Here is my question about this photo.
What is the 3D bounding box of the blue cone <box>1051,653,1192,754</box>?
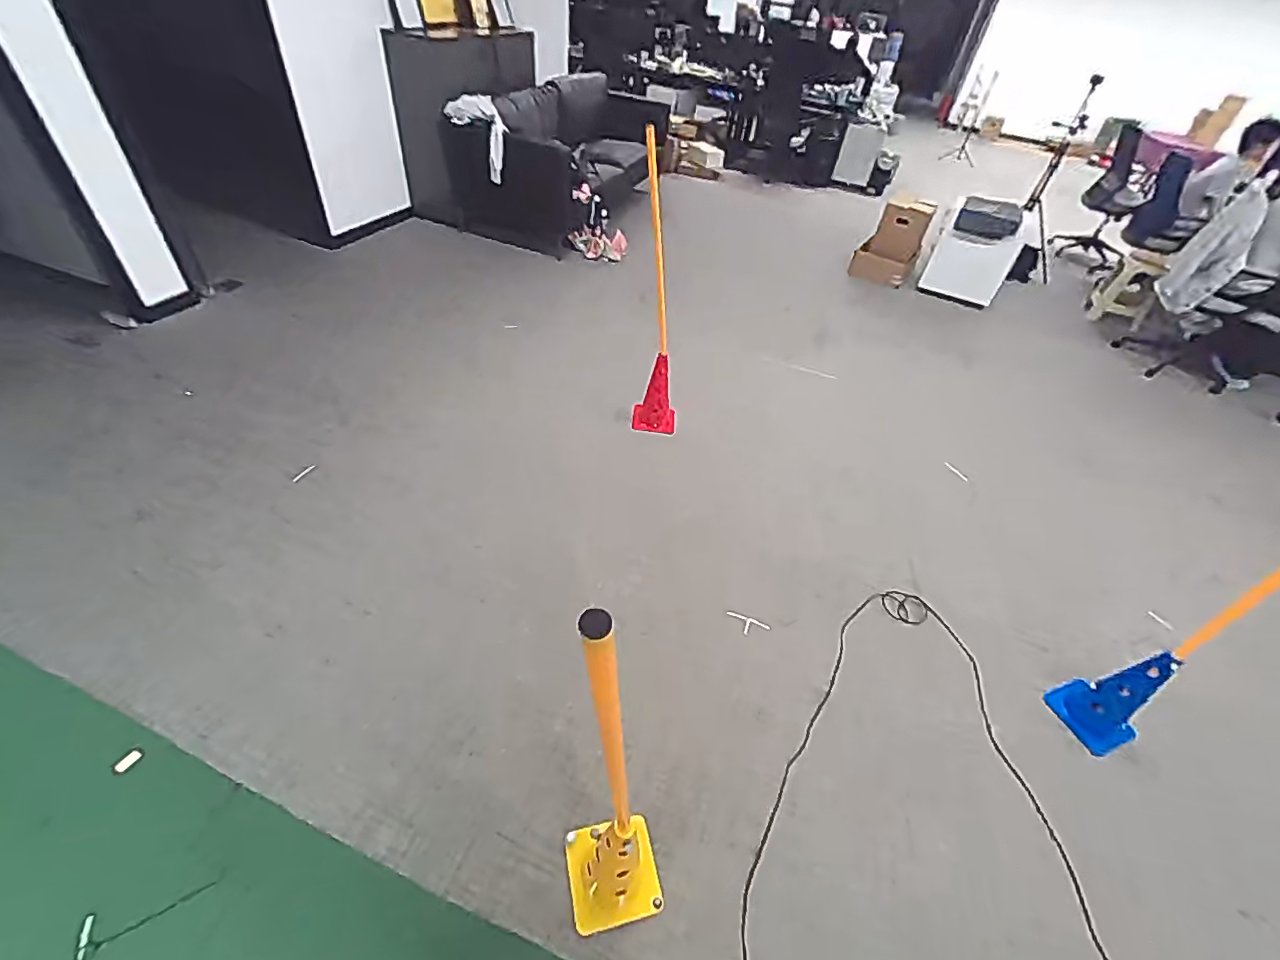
[{"bbox_3d":[1.411,0.602,1.556,0.193,0.380,0.192,-10,45,-22],"label":"blue cone"}]
